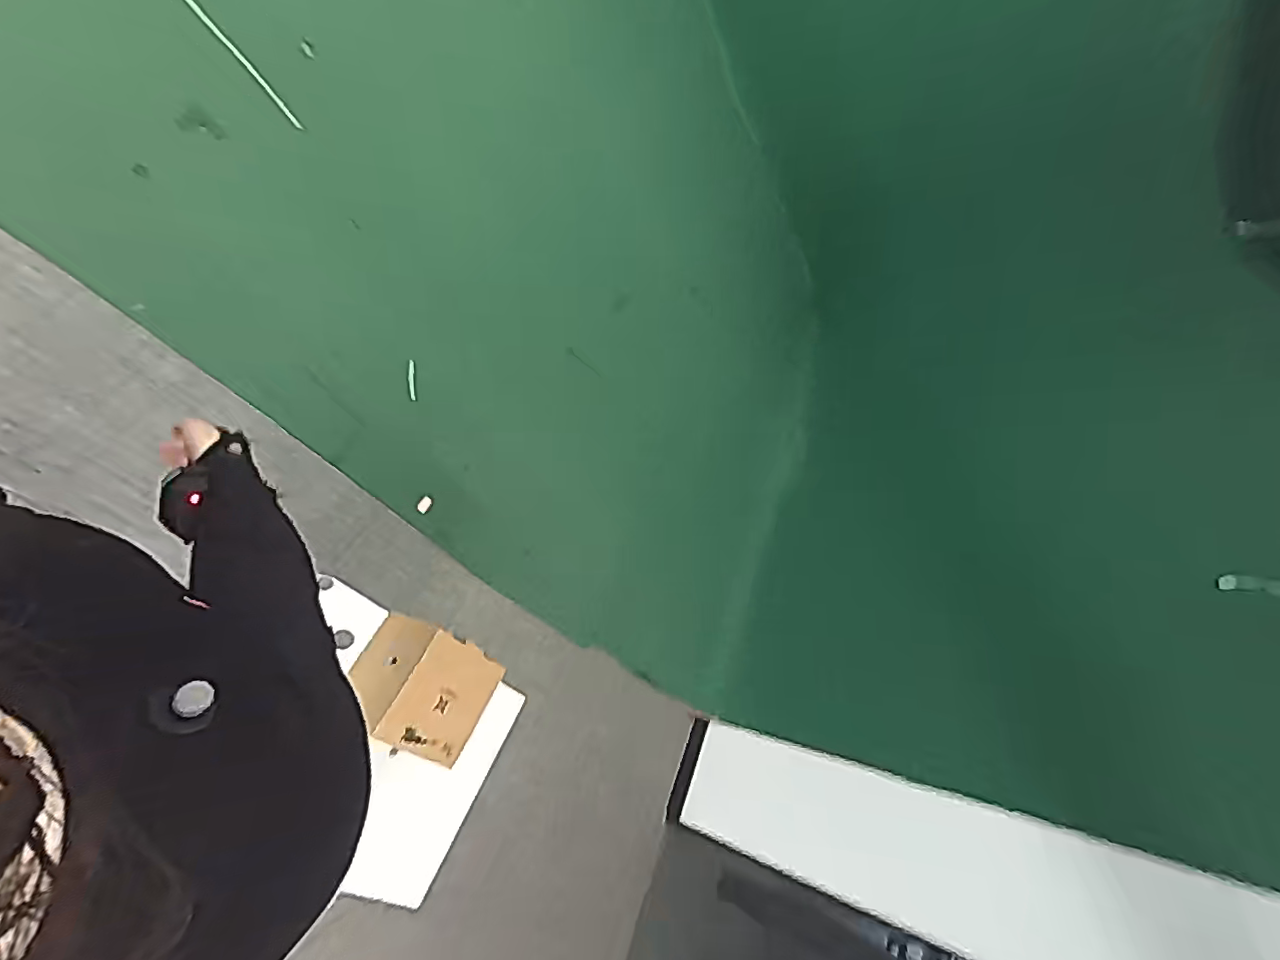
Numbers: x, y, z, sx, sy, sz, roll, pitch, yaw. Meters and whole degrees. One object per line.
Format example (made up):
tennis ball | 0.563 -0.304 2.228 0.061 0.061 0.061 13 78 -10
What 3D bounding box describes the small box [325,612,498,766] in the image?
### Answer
small box | -0.382 0.341 0.906 0.168 0.176 0.179 51 53 -37
